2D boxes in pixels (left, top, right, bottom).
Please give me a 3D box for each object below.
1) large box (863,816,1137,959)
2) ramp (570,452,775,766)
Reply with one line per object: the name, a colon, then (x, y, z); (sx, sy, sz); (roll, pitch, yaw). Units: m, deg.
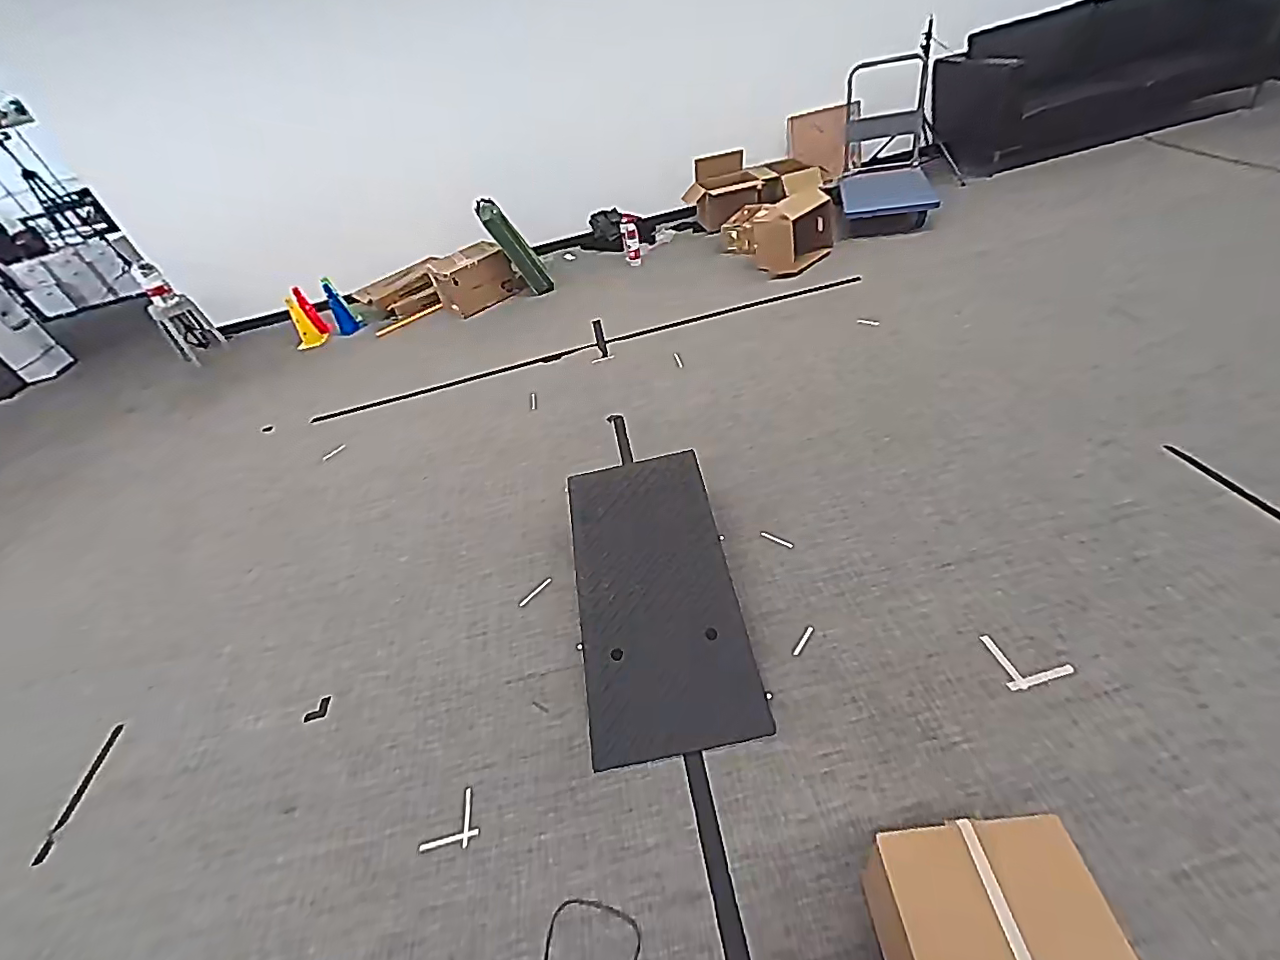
large box: (0.607, 0.845, 0.898); (0.320, 0.320, 0.408); (-10, 42, 6)
ramp: (0.051, 0.328, 1.732); (0.509, 0.206, 0.991); (-13, 41, 0)
